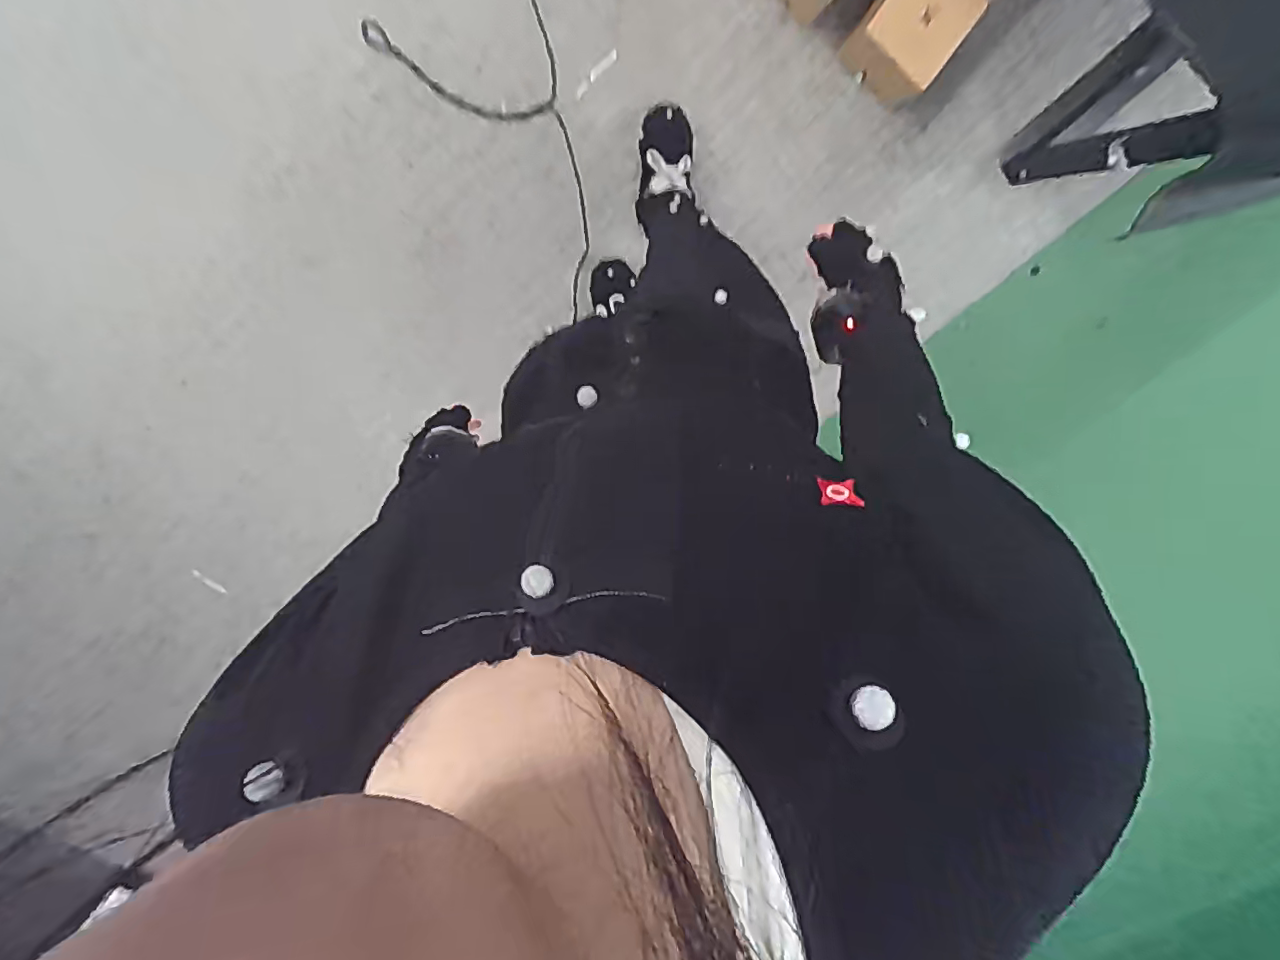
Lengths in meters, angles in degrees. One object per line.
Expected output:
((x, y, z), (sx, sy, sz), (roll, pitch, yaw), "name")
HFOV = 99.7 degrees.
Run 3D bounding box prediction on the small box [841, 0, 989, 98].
((0.536, -0.911, 1.072), (0.168, 0.176, 0.179), (32, 109, -16), "small box")
